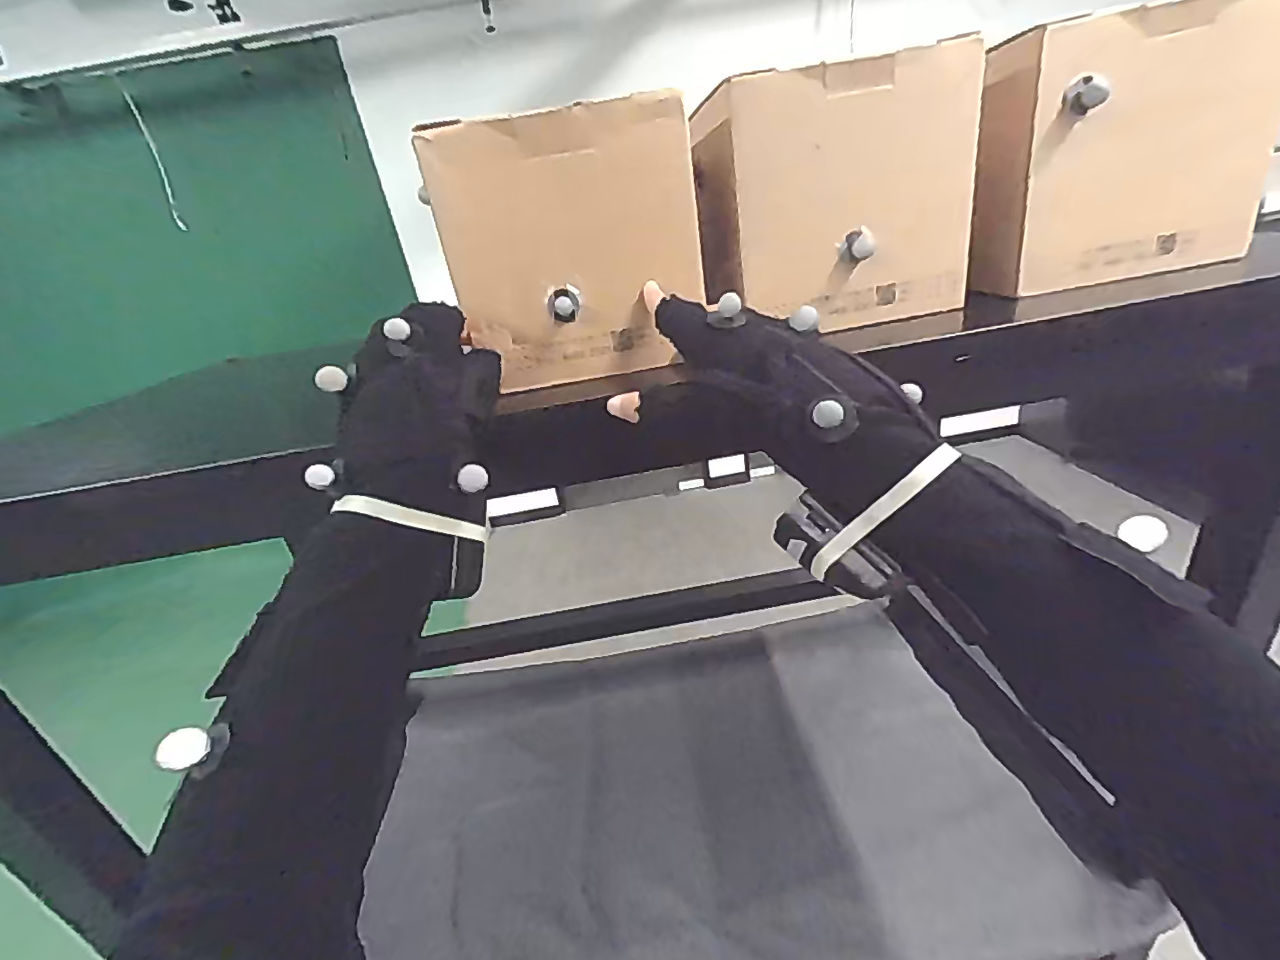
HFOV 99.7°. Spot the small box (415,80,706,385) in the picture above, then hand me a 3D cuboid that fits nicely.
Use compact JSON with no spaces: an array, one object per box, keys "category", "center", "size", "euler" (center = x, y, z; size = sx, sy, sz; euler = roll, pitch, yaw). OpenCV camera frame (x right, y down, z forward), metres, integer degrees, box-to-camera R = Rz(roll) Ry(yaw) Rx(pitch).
[{"category":"small box","center":[-0.049,-0.182,0.429],"size":[0.168,0.176,0.179],"euler":[-11,24,-1]}]
